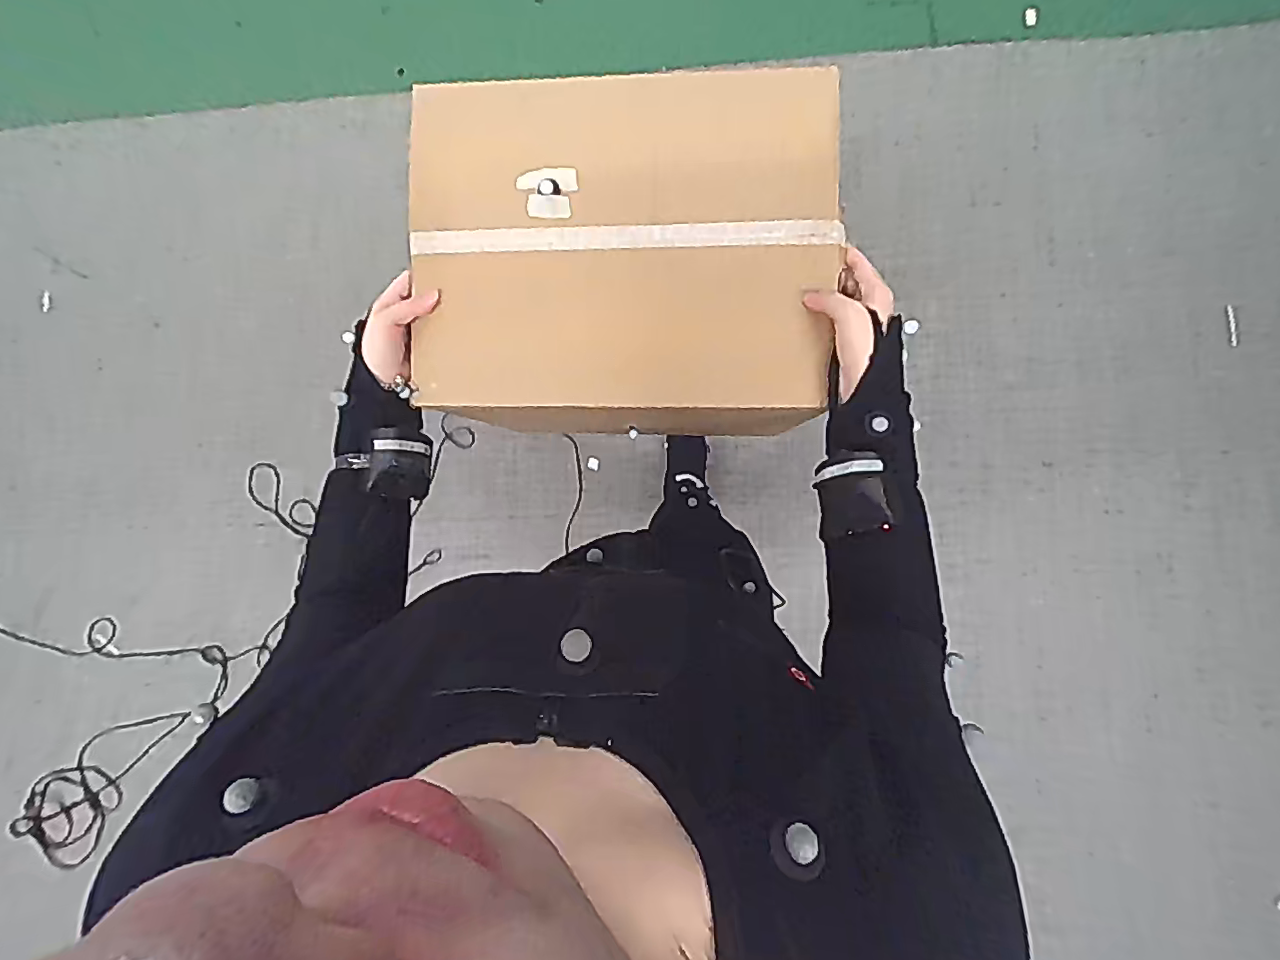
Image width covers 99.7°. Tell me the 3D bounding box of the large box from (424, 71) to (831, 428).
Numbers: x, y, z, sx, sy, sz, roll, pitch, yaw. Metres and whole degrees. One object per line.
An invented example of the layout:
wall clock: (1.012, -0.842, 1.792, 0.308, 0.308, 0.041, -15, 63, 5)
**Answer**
large box: (-0.002, -0.230, 0.673, 0.408, 0.320, 0.320, 1, 90, 6)
